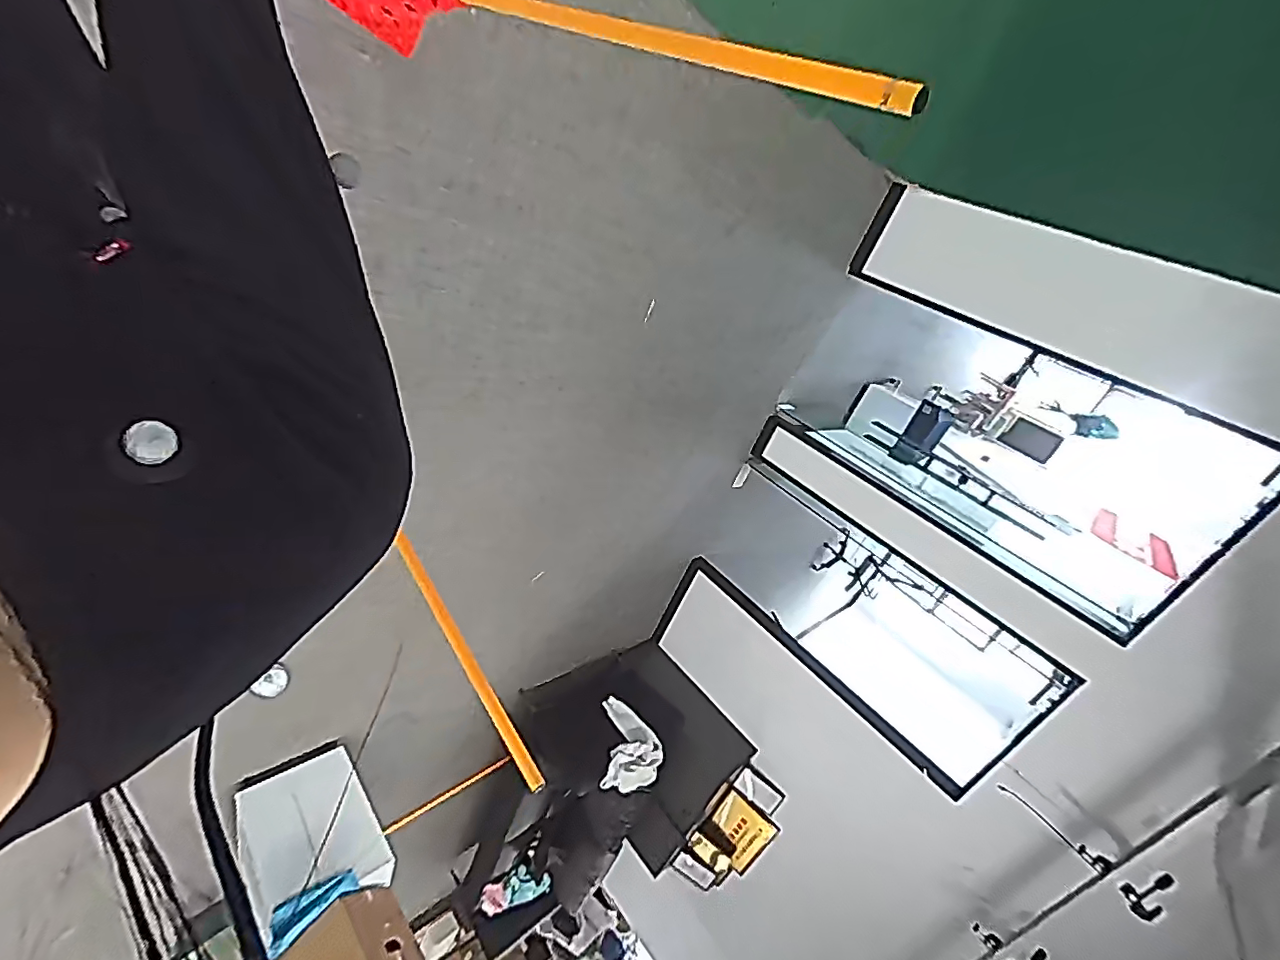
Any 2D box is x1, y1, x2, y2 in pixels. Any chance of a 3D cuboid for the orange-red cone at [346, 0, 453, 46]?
[{"bbox_3d":[-0.407,-0.943,1.009,0.198,0.360,0.199,9,118,-54],"label":"orange-red cone"}]
